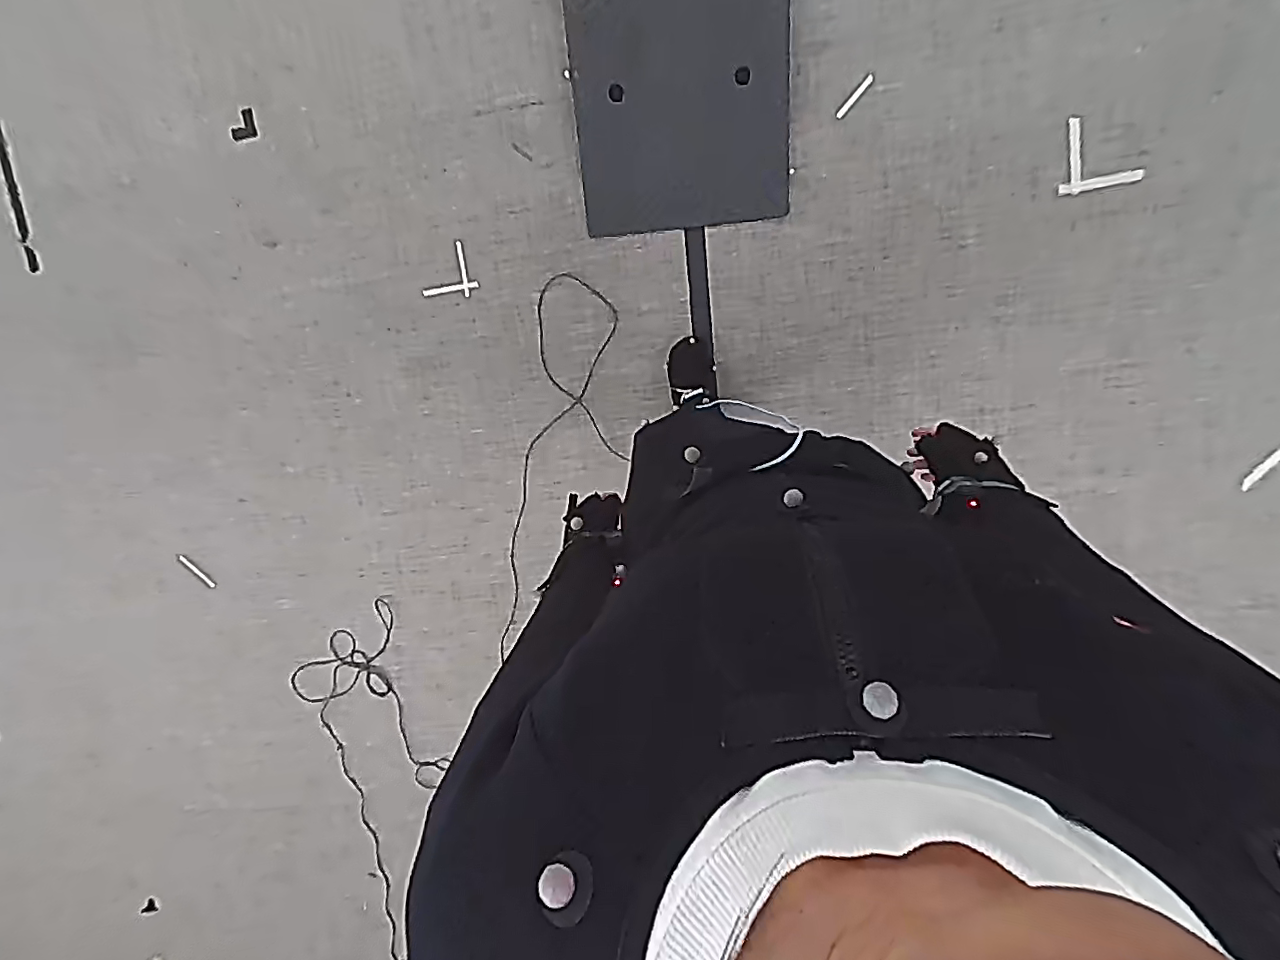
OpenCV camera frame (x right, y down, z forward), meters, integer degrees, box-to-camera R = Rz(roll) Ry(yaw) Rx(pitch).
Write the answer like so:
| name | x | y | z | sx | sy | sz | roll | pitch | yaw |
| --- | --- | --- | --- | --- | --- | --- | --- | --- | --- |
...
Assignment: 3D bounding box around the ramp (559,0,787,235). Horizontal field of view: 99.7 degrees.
| name | x | y | z | sx | sy | sz | roll | pitch | yaw |
| --- | --- | --- | --- | --- | --- | --- | --- | --- | --- |
| ramp | 0.063 | -1.088 | 1.148 | 0.509 | 0.206 | 0.991 | -5 | 101 | 6 |
